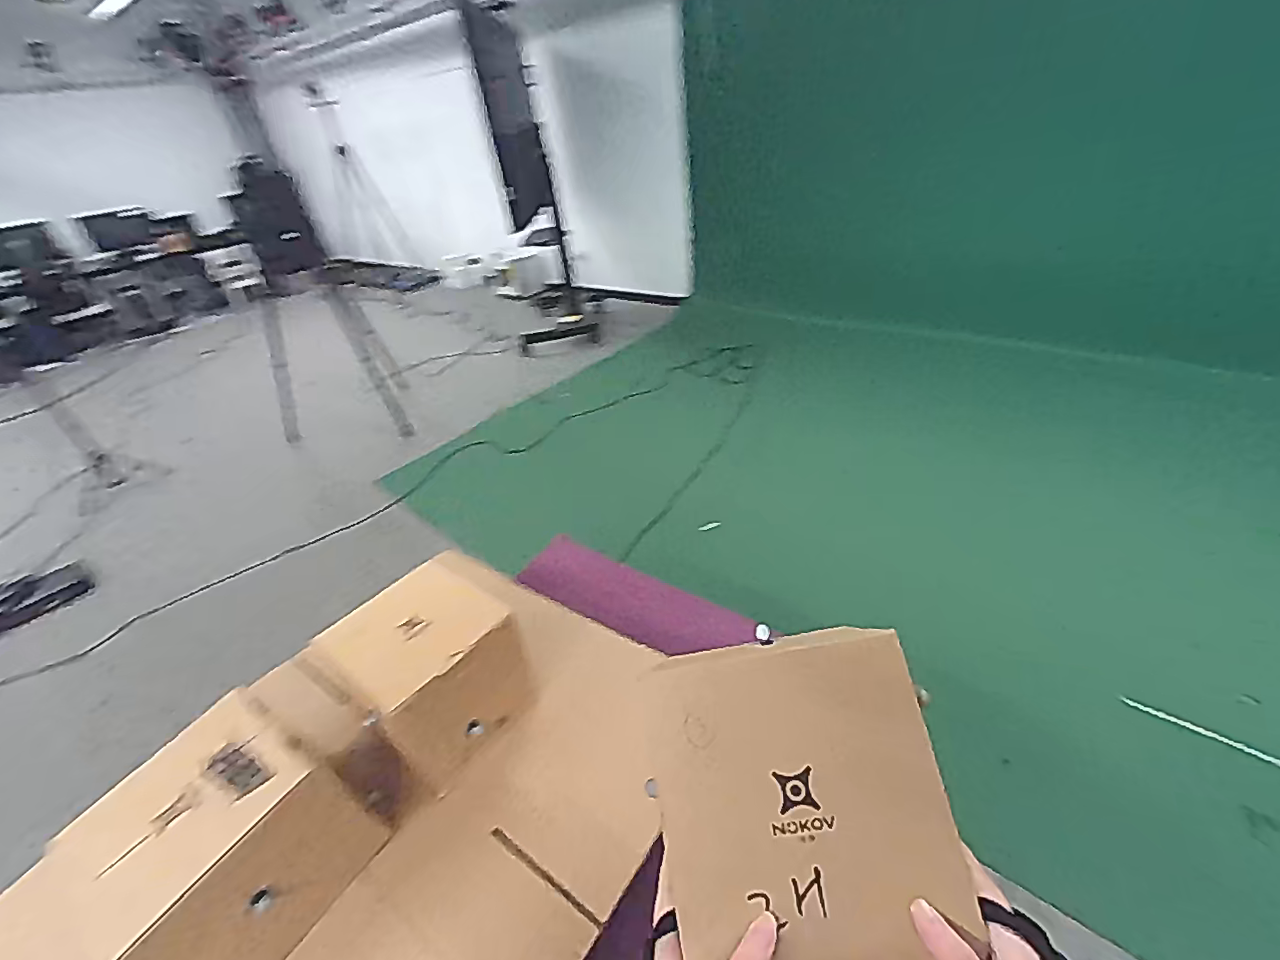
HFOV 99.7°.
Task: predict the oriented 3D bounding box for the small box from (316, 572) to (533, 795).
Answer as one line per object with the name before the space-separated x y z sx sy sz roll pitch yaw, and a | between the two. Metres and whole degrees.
small box | -0.263 0.253 0.687 0.179 0.176 0.168 19 40 33

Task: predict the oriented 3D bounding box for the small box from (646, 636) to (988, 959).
small box | 0.109 0.215 0.395 0.168 0.176 0.179 -13 74 9
